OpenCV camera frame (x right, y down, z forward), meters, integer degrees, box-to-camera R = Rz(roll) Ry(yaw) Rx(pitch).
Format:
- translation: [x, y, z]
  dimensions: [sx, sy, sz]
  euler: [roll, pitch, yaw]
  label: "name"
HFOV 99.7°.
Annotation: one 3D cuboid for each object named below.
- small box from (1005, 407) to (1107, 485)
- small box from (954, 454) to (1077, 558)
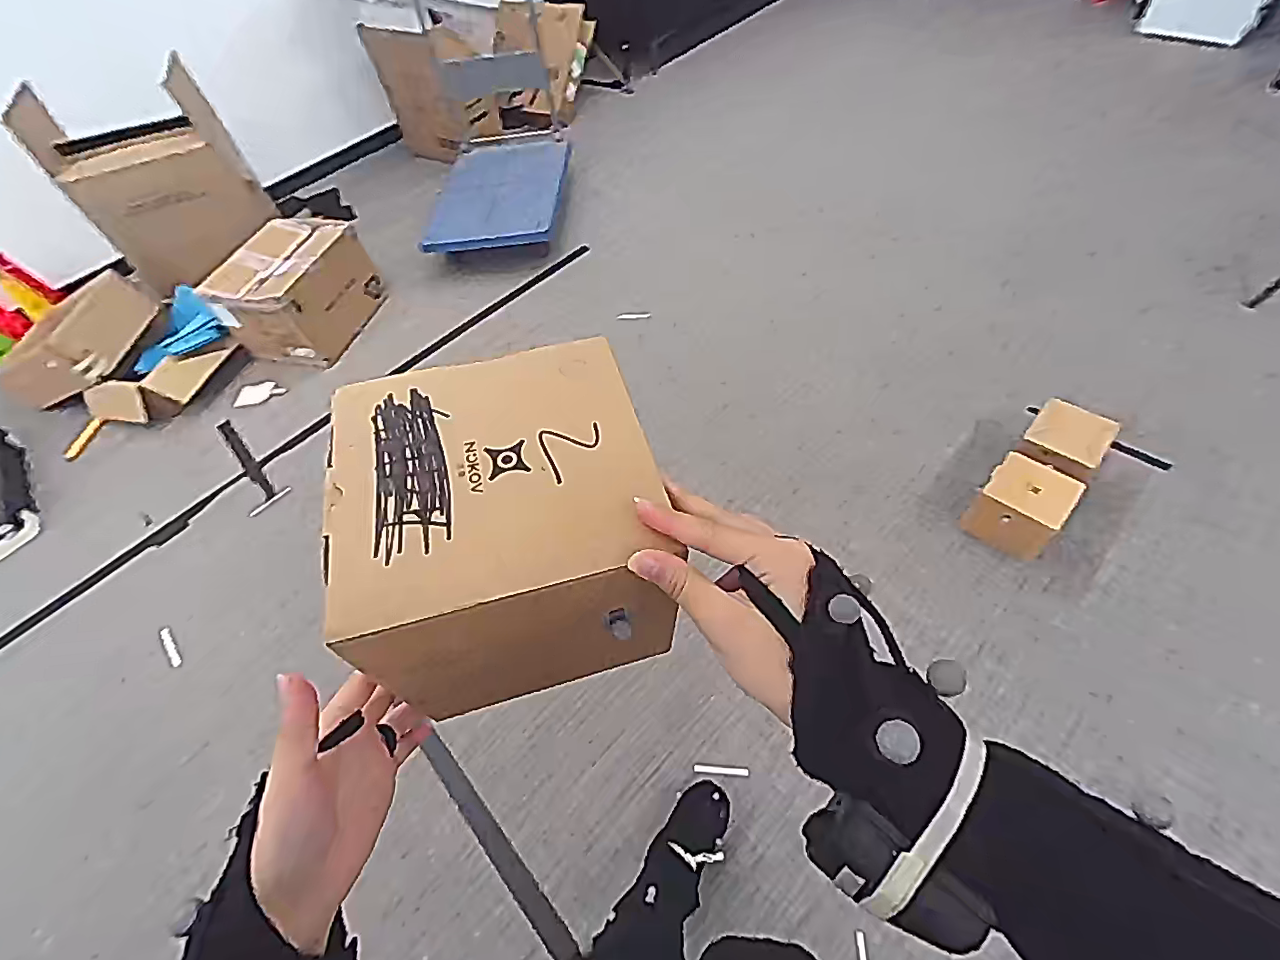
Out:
- translation: [1.097, -0.074, 1.450]
  dimensions: [0.168, 0.176, 0.179]
  euler: [34, 66, 28]
  label: "small box"
- translation: [0.946, 0.074, 1.376]
  dimensions: [0.179, 0.176, 0.168]
  euler: [35, 67, 28]
  label: "small box"
